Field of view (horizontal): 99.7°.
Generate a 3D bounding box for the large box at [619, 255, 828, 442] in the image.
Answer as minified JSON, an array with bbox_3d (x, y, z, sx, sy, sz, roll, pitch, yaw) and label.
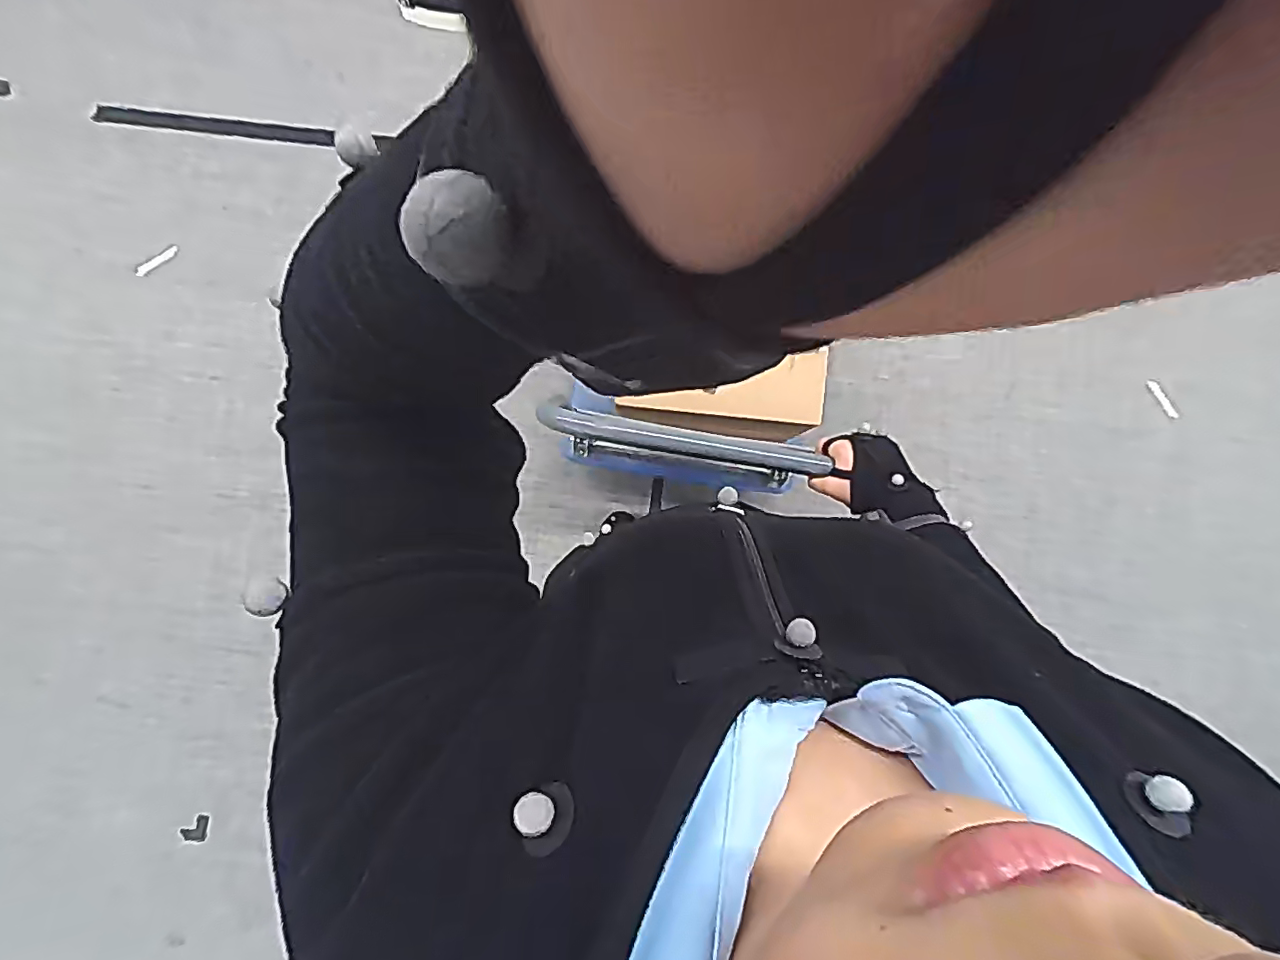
[{"bbox_3d":[0.162,-0.270,1.214,0.408,0.320,0.320,5,87,-2],"label":"large box"}]
